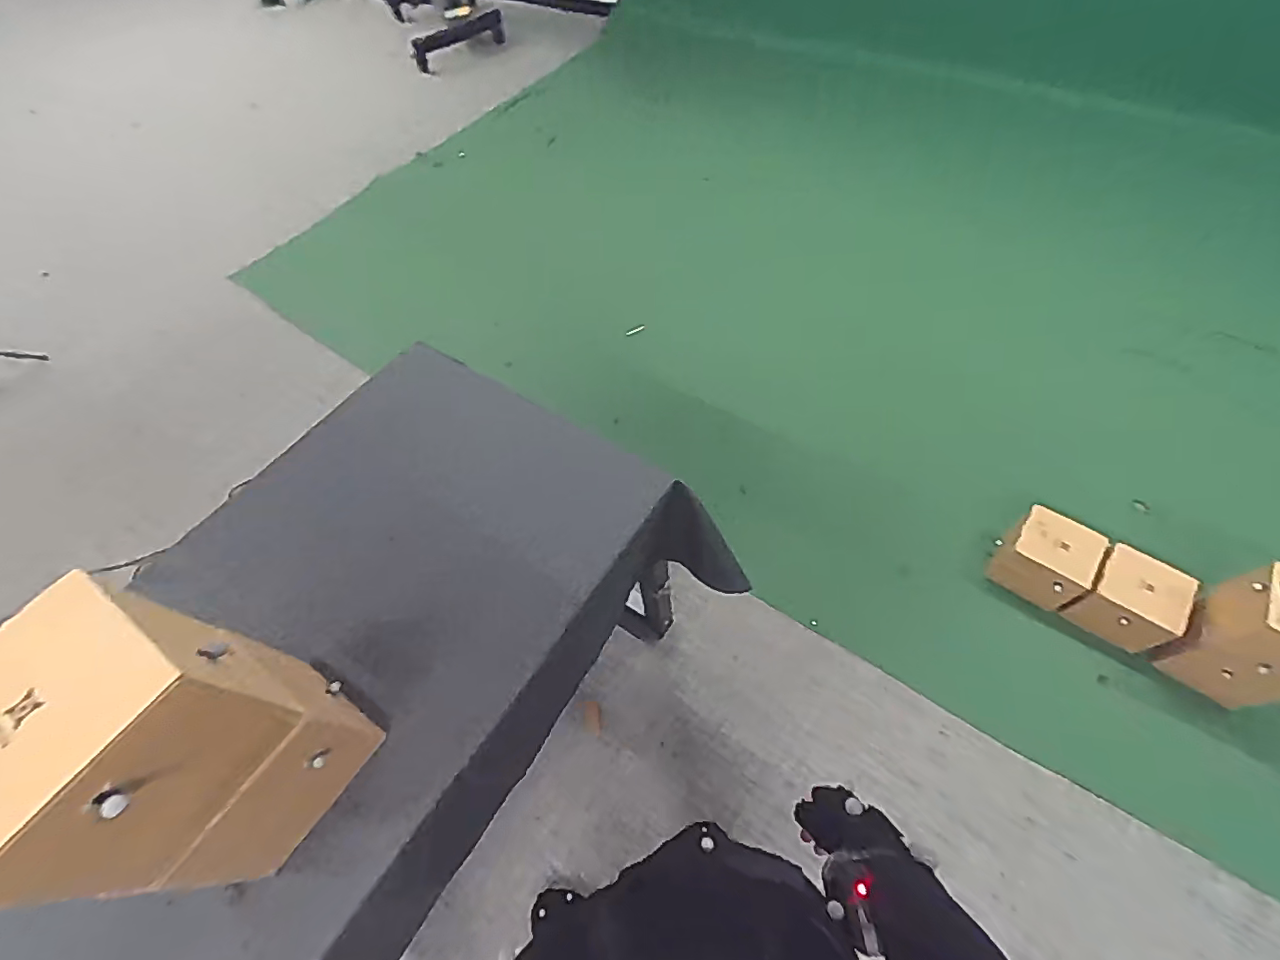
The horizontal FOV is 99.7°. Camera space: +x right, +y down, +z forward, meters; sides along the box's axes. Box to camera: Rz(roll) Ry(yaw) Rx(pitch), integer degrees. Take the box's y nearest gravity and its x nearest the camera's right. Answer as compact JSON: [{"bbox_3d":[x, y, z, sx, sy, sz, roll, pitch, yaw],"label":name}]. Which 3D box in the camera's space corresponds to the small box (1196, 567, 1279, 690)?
[{"bbox_3d":[1.333,0.316,1.123,0.179,0.176,0.168,29,64,20],"label":"small box"}]

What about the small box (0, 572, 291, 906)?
[{"bbox_3d":[-0.450,0.218,0.470,0.168,0.176,0.179,27,64,20],"label":"small box"}]
